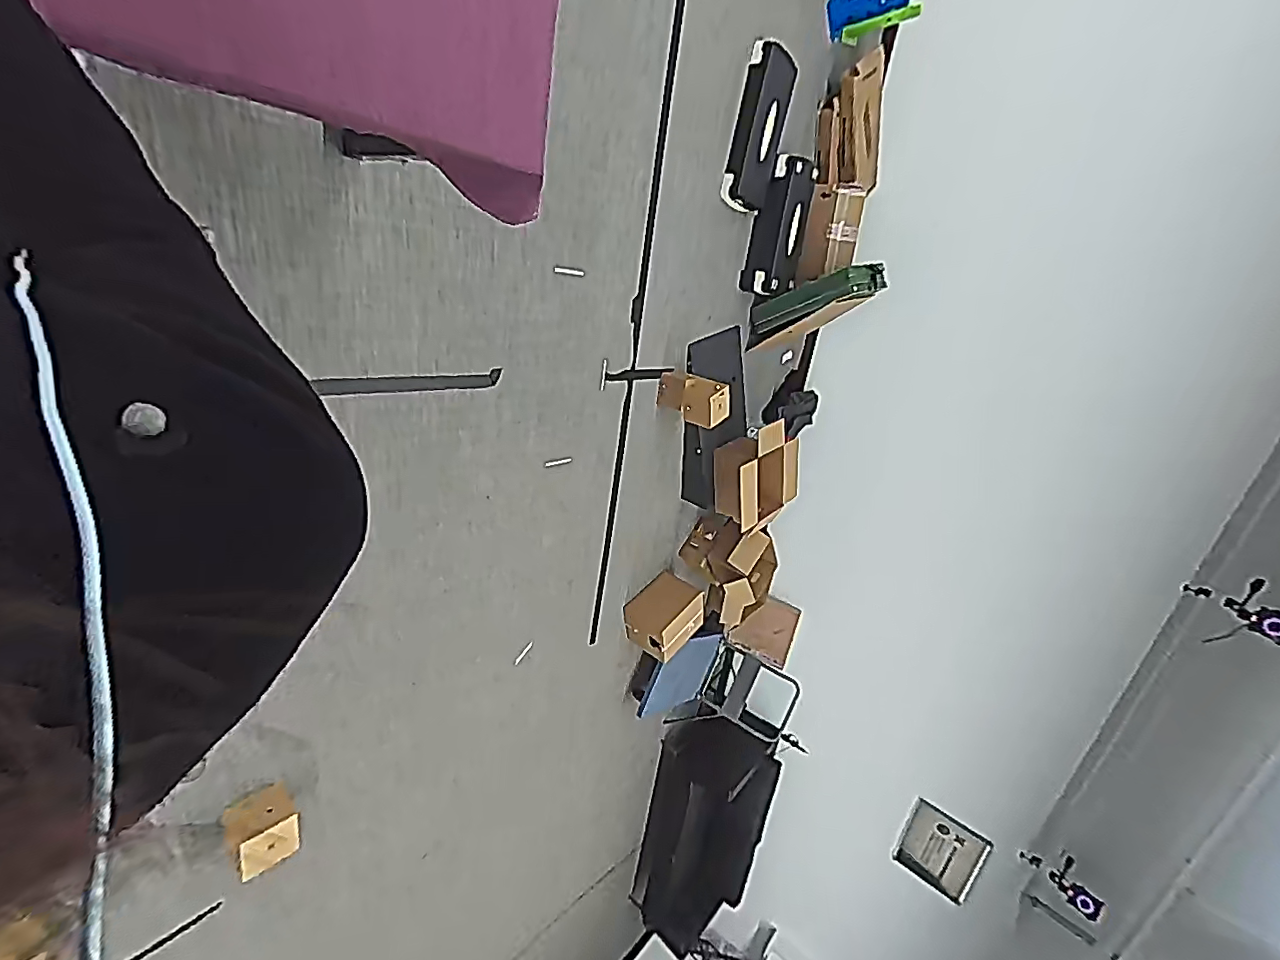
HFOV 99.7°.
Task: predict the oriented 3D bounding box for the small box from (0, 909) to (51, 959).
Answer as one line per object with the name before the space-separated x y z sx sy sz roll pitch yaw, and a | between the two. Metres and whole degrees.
small box | -1.632 1.252 1.377 0.168 0.176 0.179 -12 120 -49

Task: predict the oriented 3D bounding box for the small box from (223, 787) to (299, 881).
small box | -1.274 1.175 1.819 0.168 0.176 0.179 -15 123 -50
